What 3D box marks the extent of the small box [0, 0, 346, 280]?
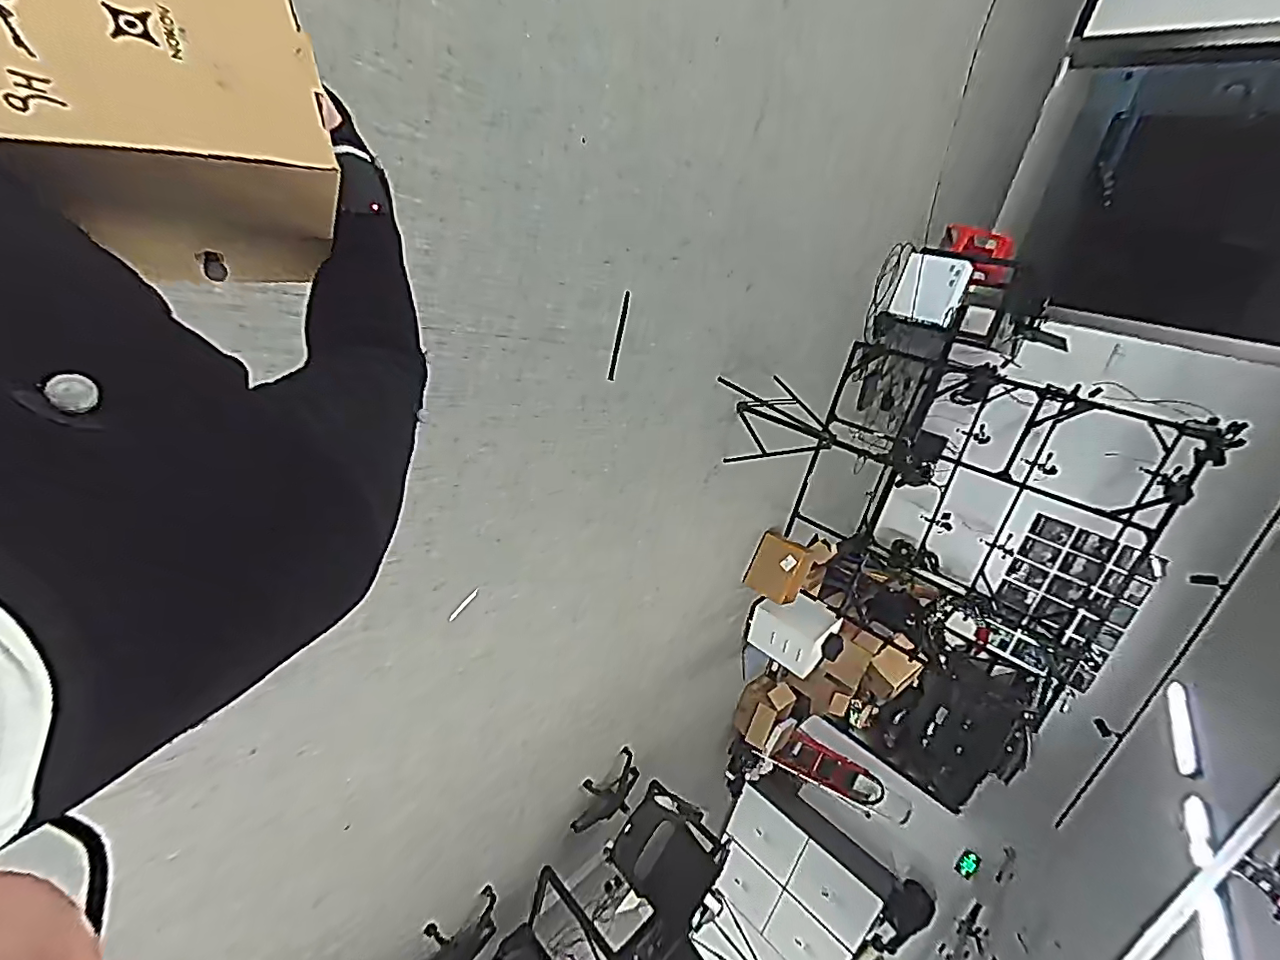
[{"bbox_3d":[-0.353,-0.271,0.421,0.179,0.176,0.168,-15,88,-35],"label":"small box"}]
